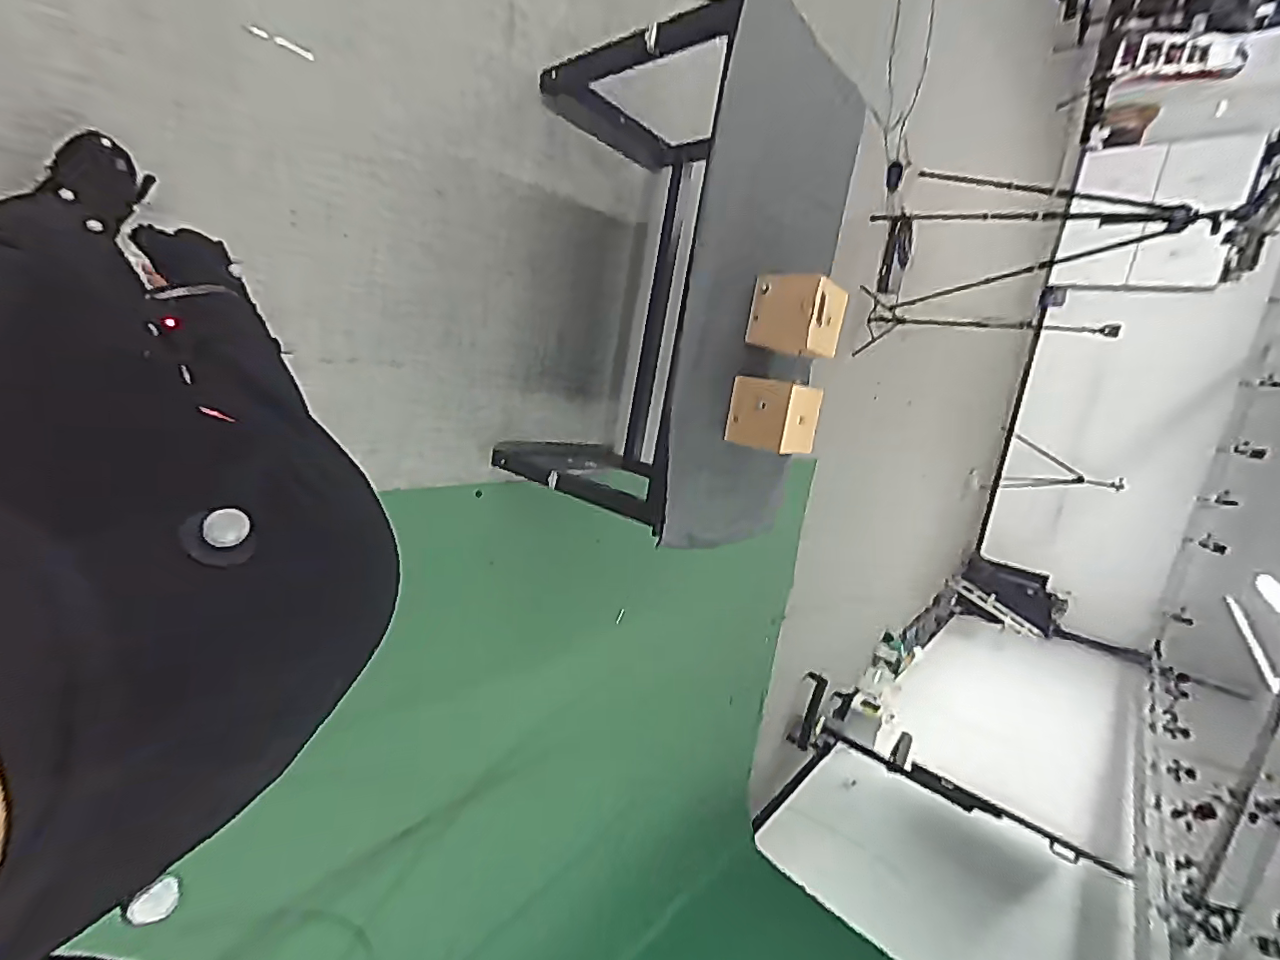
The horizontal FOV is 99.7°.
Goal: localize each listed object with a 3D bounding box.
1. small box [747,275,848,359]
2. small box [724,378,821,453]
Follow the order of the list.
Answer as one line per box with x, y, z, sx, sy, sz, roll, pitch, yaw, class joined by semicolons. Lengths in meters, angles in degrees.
0.391;-0.406;1.356;0.179;0.176;0.168;-1;105;-50;small box
0.339;-0.166;1.393;0.179;0.176;0.168;-4;107;-49;small box
